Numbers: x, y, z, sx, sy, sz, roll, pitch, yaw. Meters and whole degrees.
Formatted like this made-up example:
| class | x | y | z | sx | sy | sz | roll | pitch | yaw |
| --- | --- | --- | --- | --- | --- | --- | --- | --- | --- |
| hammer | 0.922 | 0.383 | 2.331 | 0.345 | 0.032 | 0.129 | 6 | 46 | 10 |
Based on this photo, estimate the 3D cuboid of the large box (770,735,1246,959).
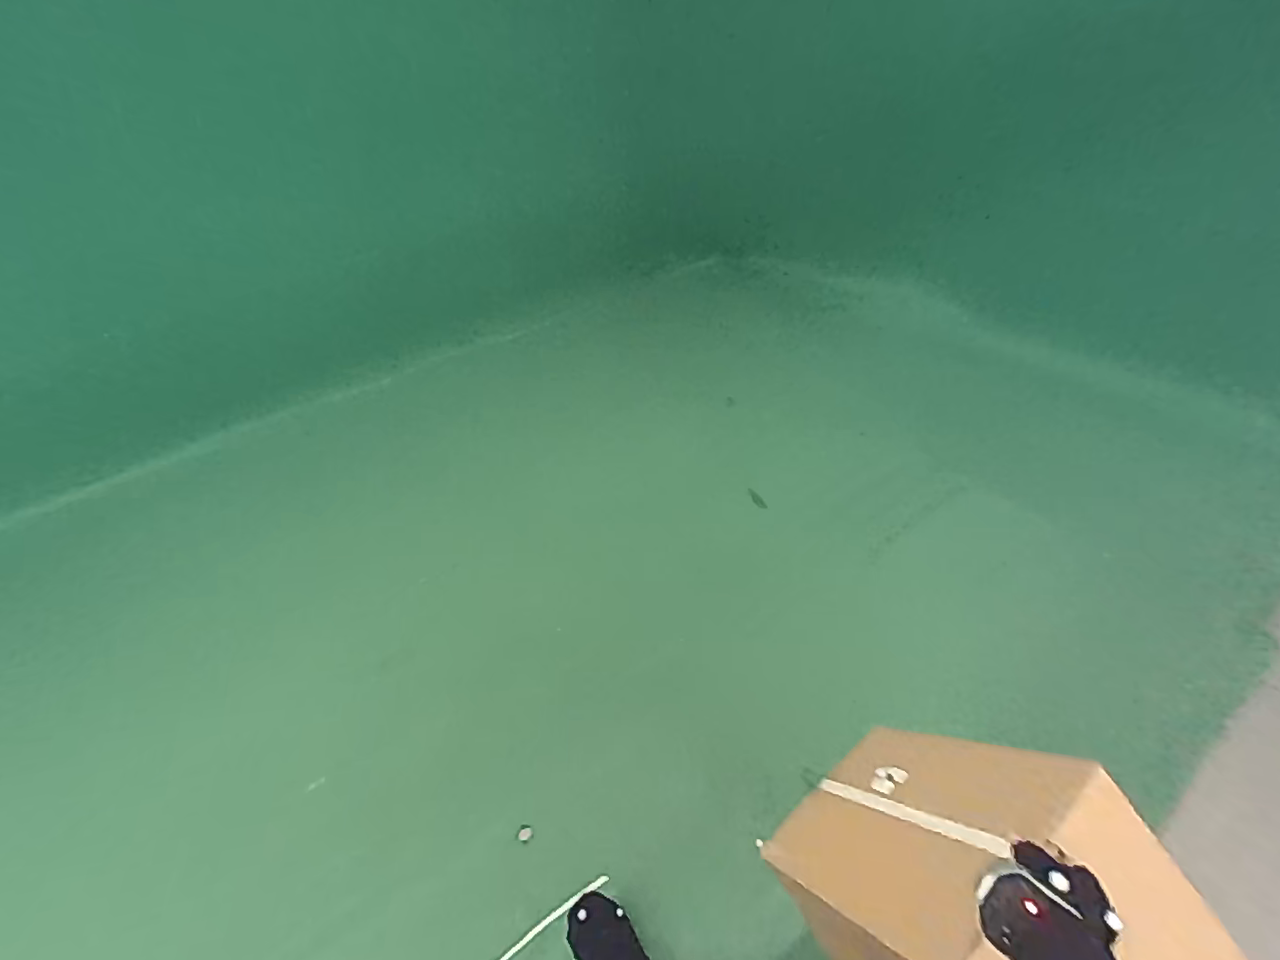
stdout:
| class | x | y | z | sx | sy | sz | roll | pitch | yaw |
| --- | --- | --- | --- | --- | --- | --- | --- | --- | --- |
| large box | 0.464 | 0.600 | 0.742 | 0.320 | 0.408 | 0.320 | -31 | 80 | -22 |
